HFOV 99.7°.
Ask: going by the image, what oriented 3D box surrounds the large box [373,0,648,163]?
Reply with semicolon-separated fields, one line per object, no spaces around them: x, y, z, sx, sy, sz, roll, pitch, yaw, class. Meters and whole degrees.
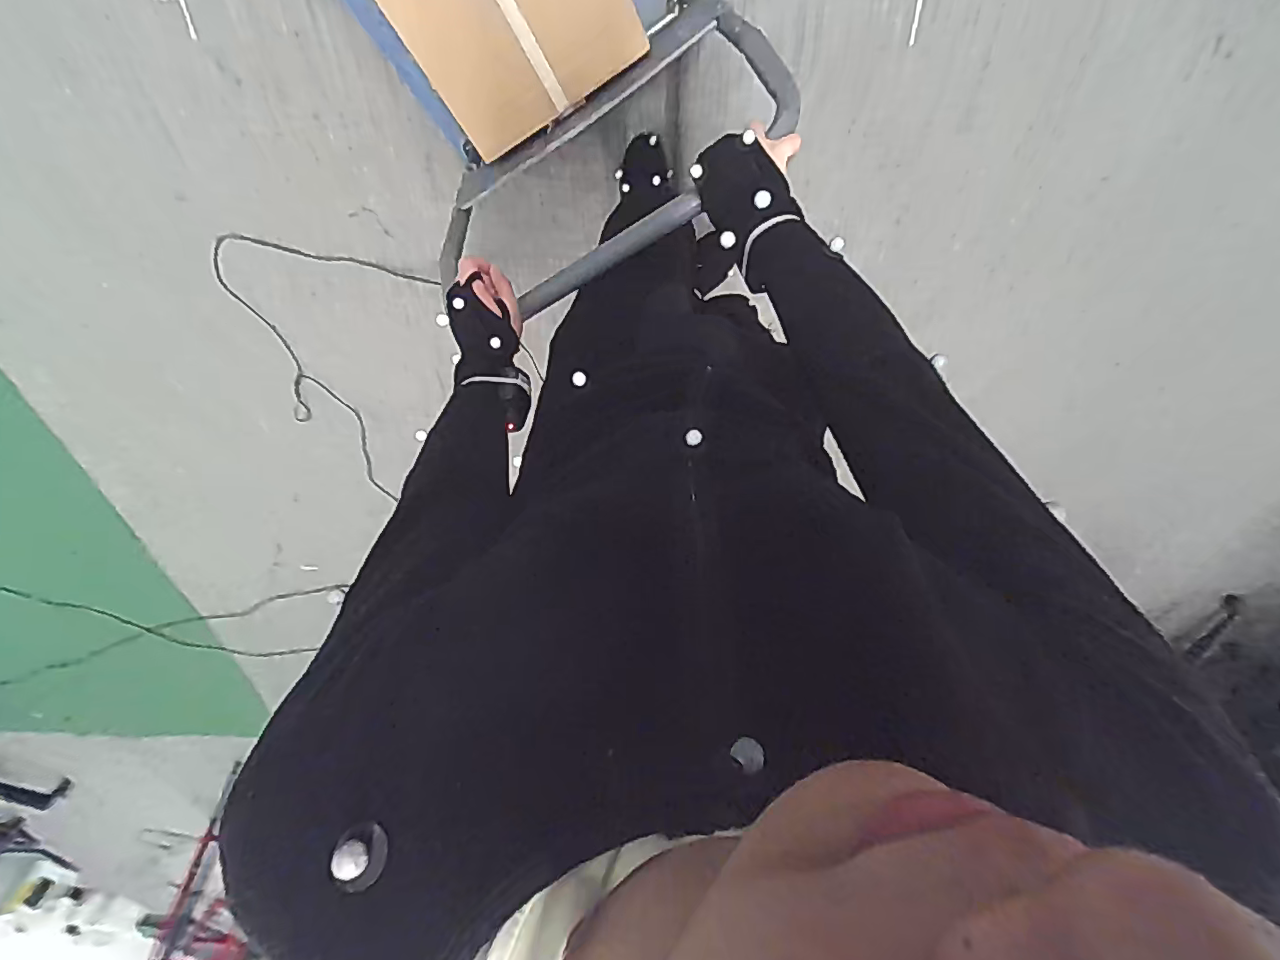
-0.222;-0.801;0.829;0.320;0.320;0.408;-24;132;18;large box
